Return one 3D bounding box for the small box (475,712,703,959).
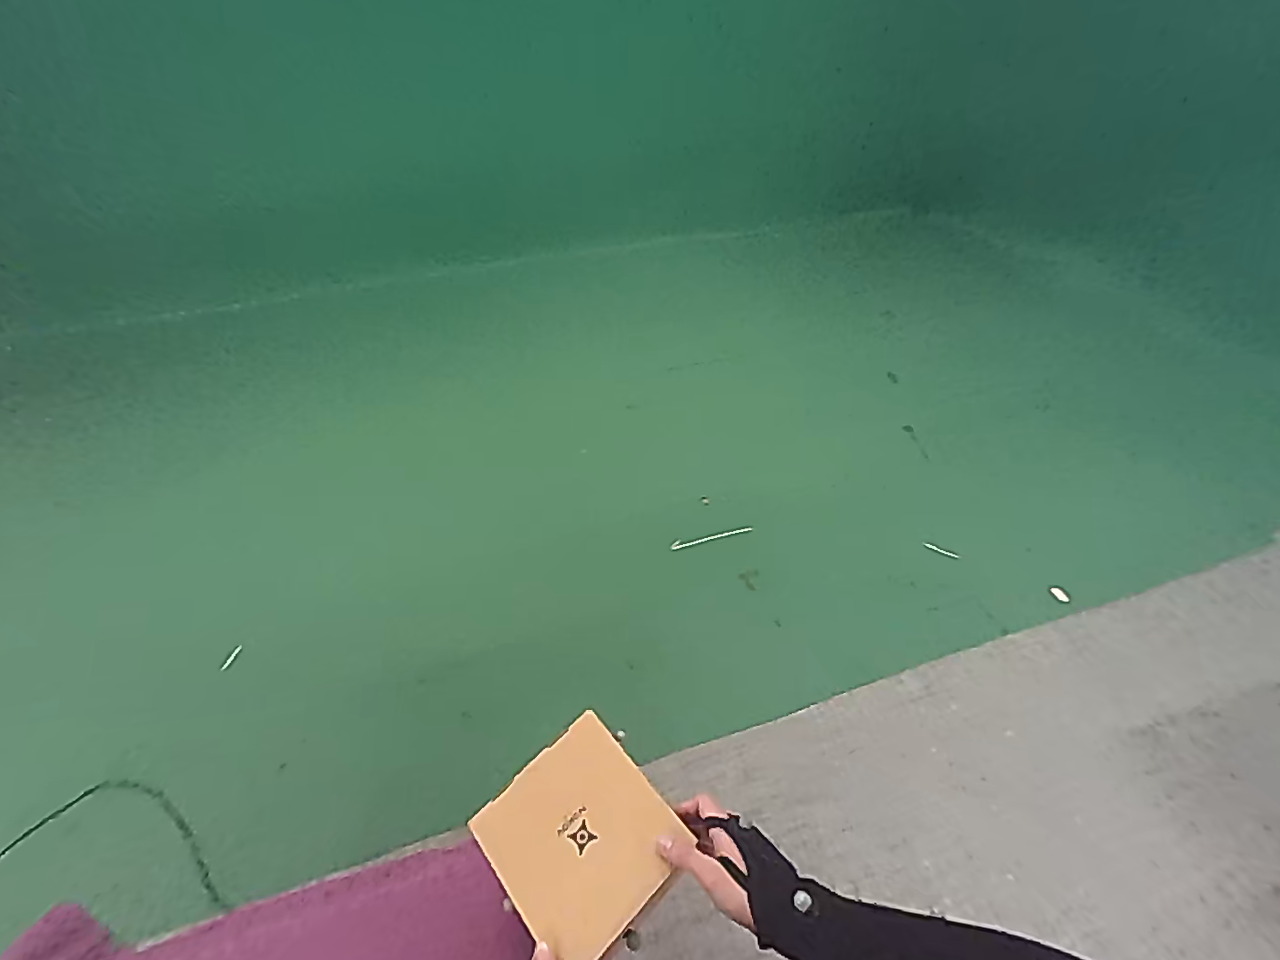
[{"bbox_3d":[-0.045,0.399,0.595,0.168,0.176,0.179,-37,55,-21],"label":"small box"}]
